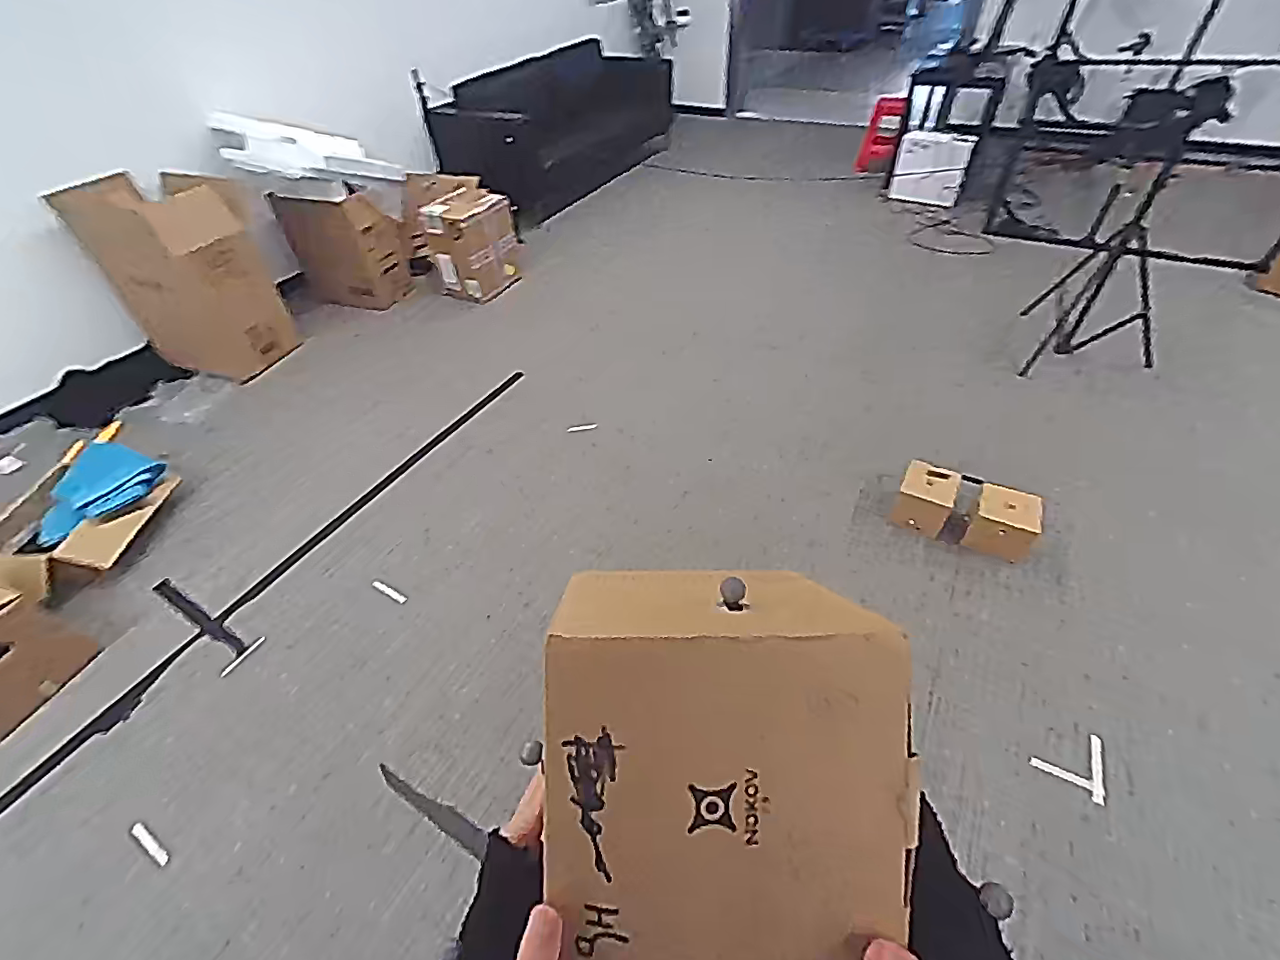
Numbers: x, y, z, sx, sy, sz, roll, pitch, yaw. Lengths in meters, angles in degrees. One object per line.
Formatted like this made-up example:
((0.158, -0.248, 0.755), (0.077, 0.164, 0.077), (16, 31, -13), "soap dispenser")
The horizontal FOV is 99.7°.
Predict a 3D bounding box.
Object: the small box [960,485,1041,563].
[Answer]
((1.196, 0.150, 1.802), (0.179, 0.176, 0.168), (20, 52, 21), "small box")

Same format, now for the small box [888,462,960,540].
((0.987, 0.074, 1.890), (0.168, 0.176, 0.179), (22, 52, 24), "small box")

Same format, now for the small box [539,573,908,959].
((0.036, 0.153, 0.335), (0.179, 0.176, 0.168), (1, 90, -3), "small box")
